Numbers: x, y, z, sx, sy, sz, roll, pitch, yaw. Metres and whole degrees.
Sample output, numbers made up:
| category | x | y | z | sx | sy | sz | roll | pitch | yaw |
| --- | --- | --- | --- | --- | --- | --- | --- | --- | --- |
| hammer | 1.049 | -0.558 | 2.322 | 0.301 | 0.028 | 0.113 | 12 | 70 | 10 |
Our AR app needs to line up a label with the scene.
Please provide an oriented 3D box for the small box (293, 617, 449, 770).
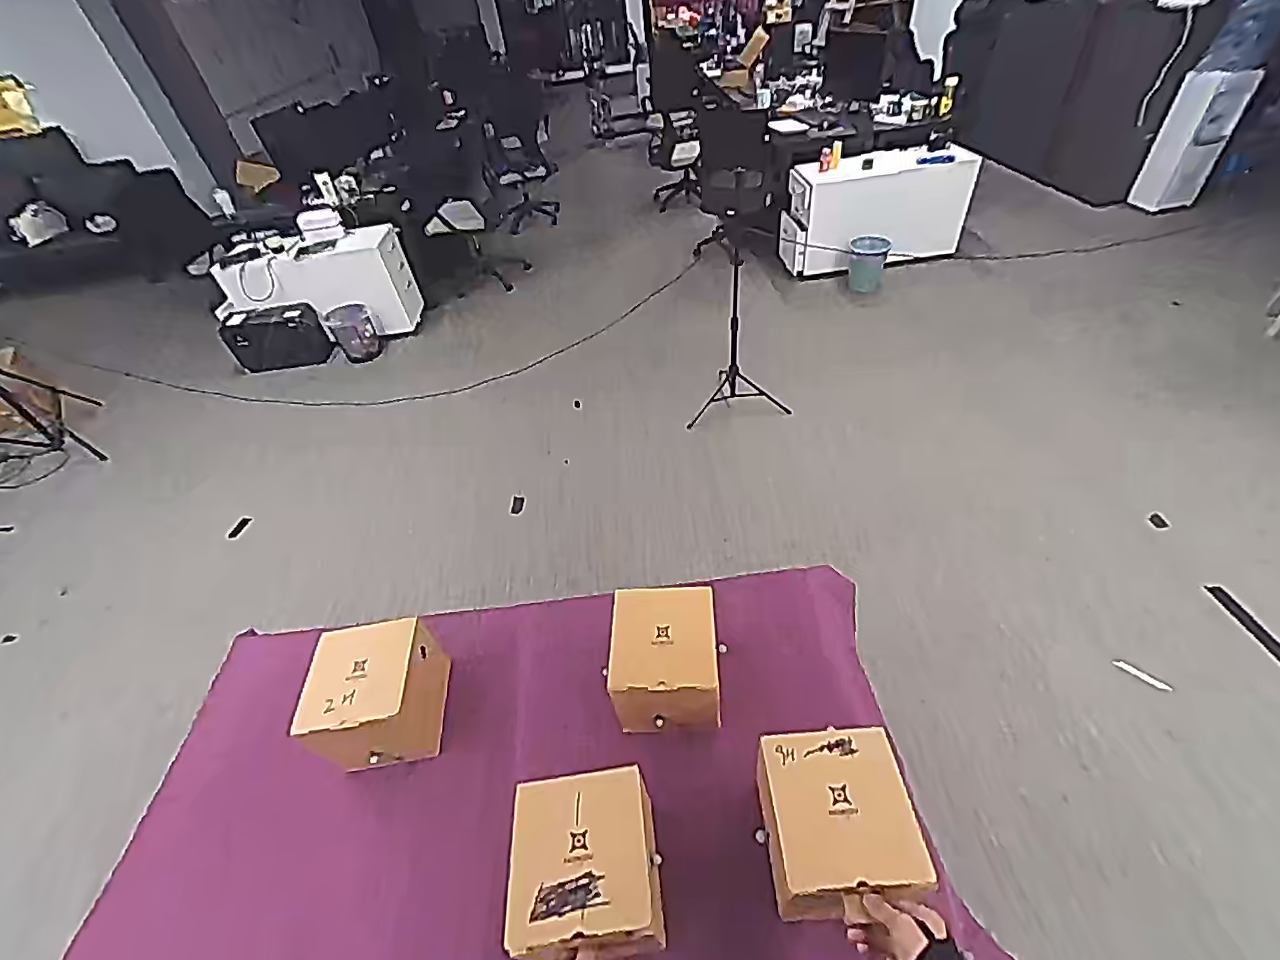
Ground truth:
| category | x | y | z | sx | sy | sz | roll | pitch | yaw |
| --- | --- | --- | --- | --- | --- | --- | --- | --- | --- |
| small box | -0.439 | 0.362 | 0.919 | 0.168 | 0.176 | 0.179 | -10 | 44 | -1 |

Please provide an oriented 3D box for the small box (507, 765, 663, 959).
| category | x | y | z | sx | sy | sz | roll | pitch | yaw |
| --- | --- | --- | --- | --- | --- | --- | --- | --- | --- |
| small box | -0.065 | 0.504 | 0.707 | 0.168 | 0.176 | 0.179 | -9 | 43 | 0 |

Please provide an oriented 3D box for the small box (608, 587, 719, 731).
| category | x | y | z | sx | sy | sz | roll | pitch | yaw |
| --- | --- | --- | --- | --- | --- | --- | --- | --- | --- |
| small box | 0.045 | 0.300 | 0.909 | 0.168 | 0.176 | 0.179 | -3 | 45 | 6 |

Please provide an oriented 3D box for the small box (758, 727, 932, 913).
| category | x | y | z | sx | sy | sz | roll | pitch | yaw |
| --- | --- | --- | --- | --- | --- | --- | --- | --- | --- |
| small box | 0.251 | 0.450 | 0.711 | 0.168 | 0.176 | 0.179 | -5 | 42 | 4 |
